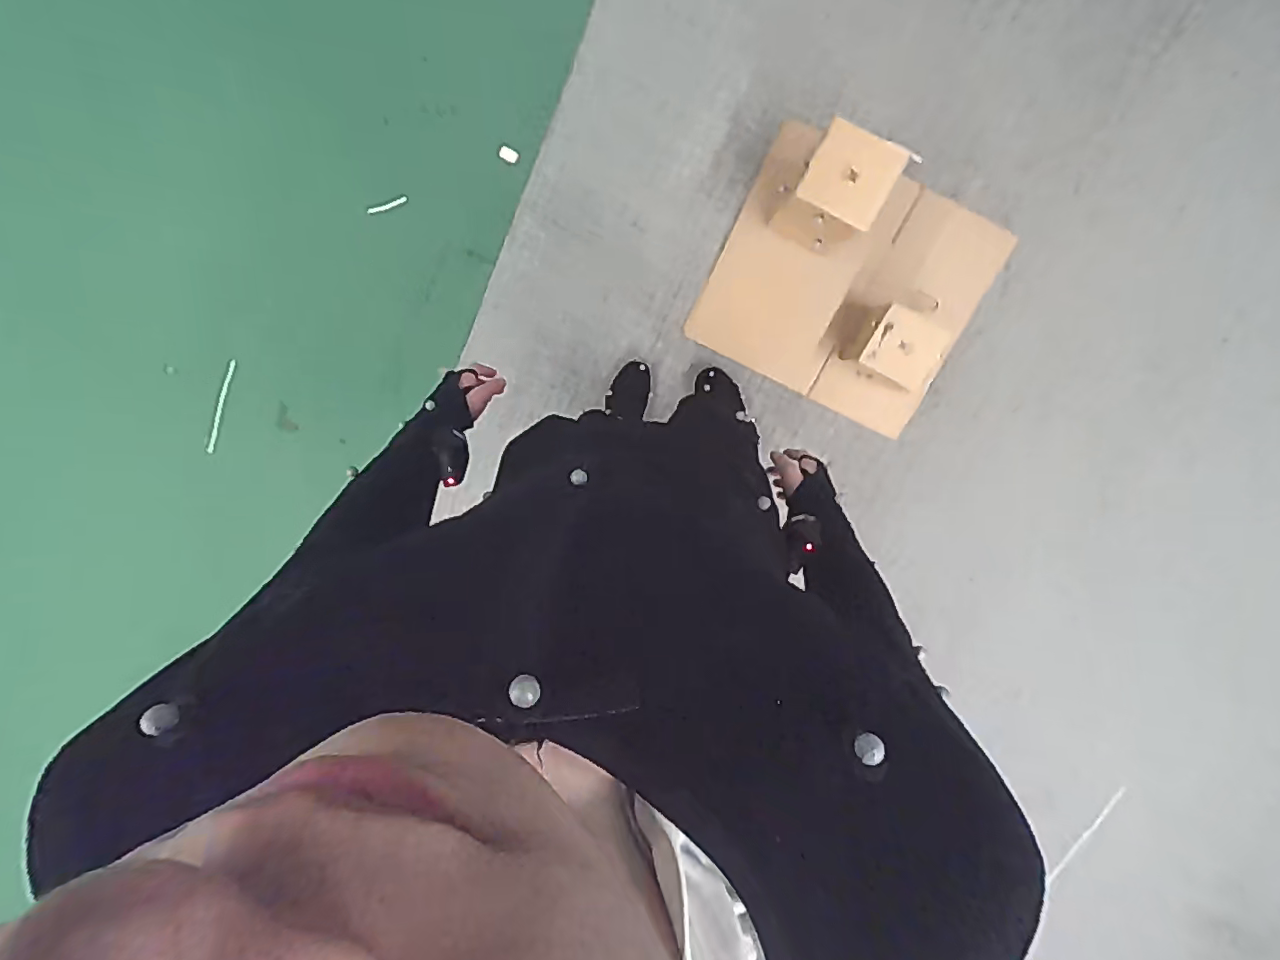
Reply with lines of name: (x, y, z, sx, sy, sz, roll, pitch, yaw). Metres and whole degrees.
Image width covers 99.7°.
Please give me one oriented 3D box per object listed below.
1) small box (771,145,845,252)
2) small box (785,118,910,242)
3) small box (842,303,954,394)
small box: (0.452, -0.690, 1.352, 0.179, 0.176, 0.168, 27, 103, -3)
small box: (0.448, -0.649, 1.196, 0.179, 0.176, 0.168, 27, 104, -2)
small box: (0.670, -0.346, 1.425, 0.179, 0.176, 0.168, 29, 103, -3)
